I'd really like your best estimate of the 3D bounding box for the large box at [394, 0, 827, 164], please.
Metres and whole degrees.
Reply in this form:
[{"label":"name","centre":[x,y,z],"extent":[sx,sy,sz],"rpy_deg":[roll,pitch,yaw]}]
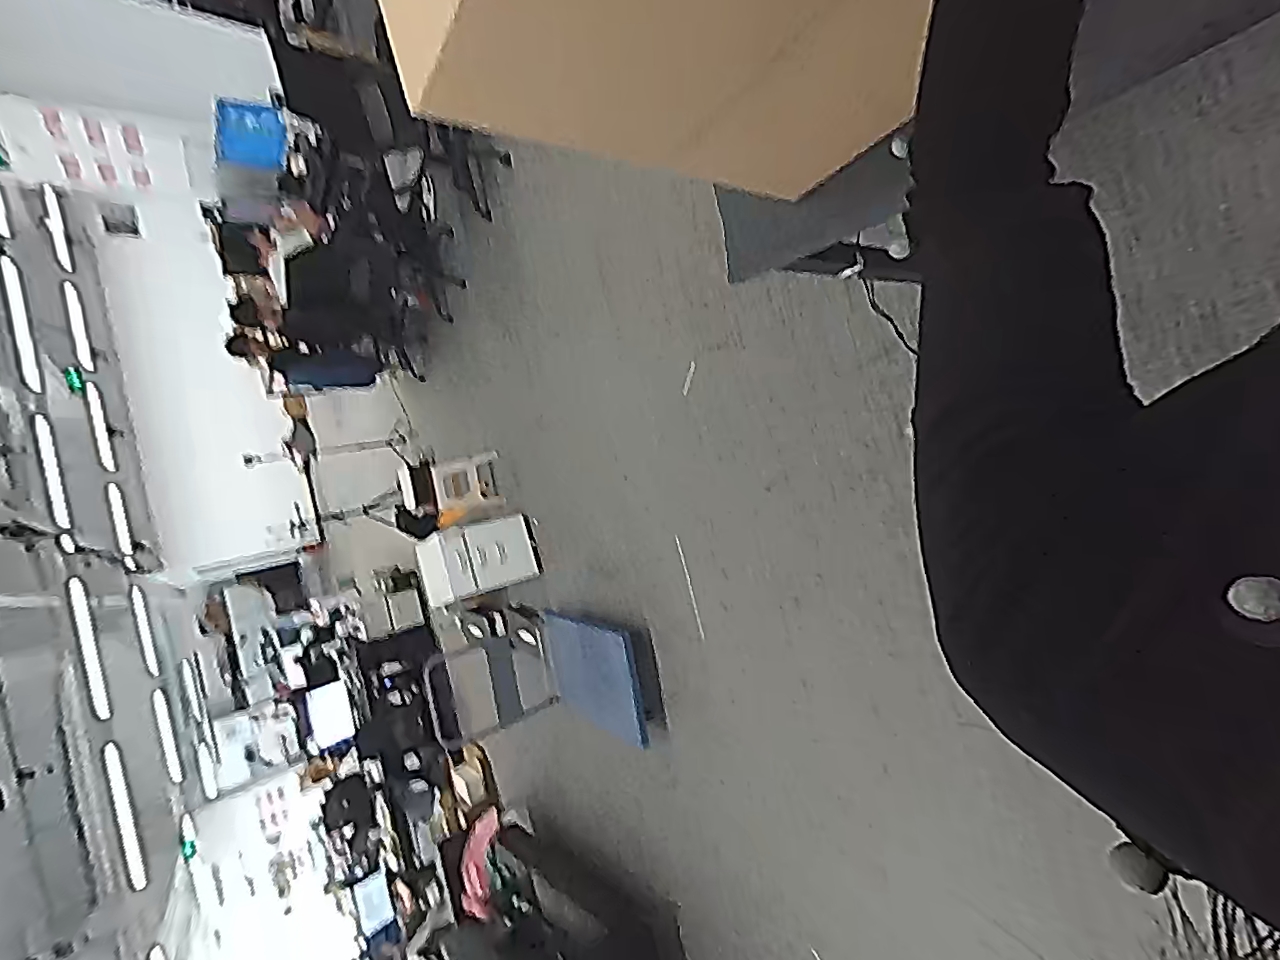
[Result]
[{"label":"large box","centre":[-0.005,-0.553,0.449],"extent":[0.408,0.320,0.320],"rpy_deg":[-15,89,51]}]
